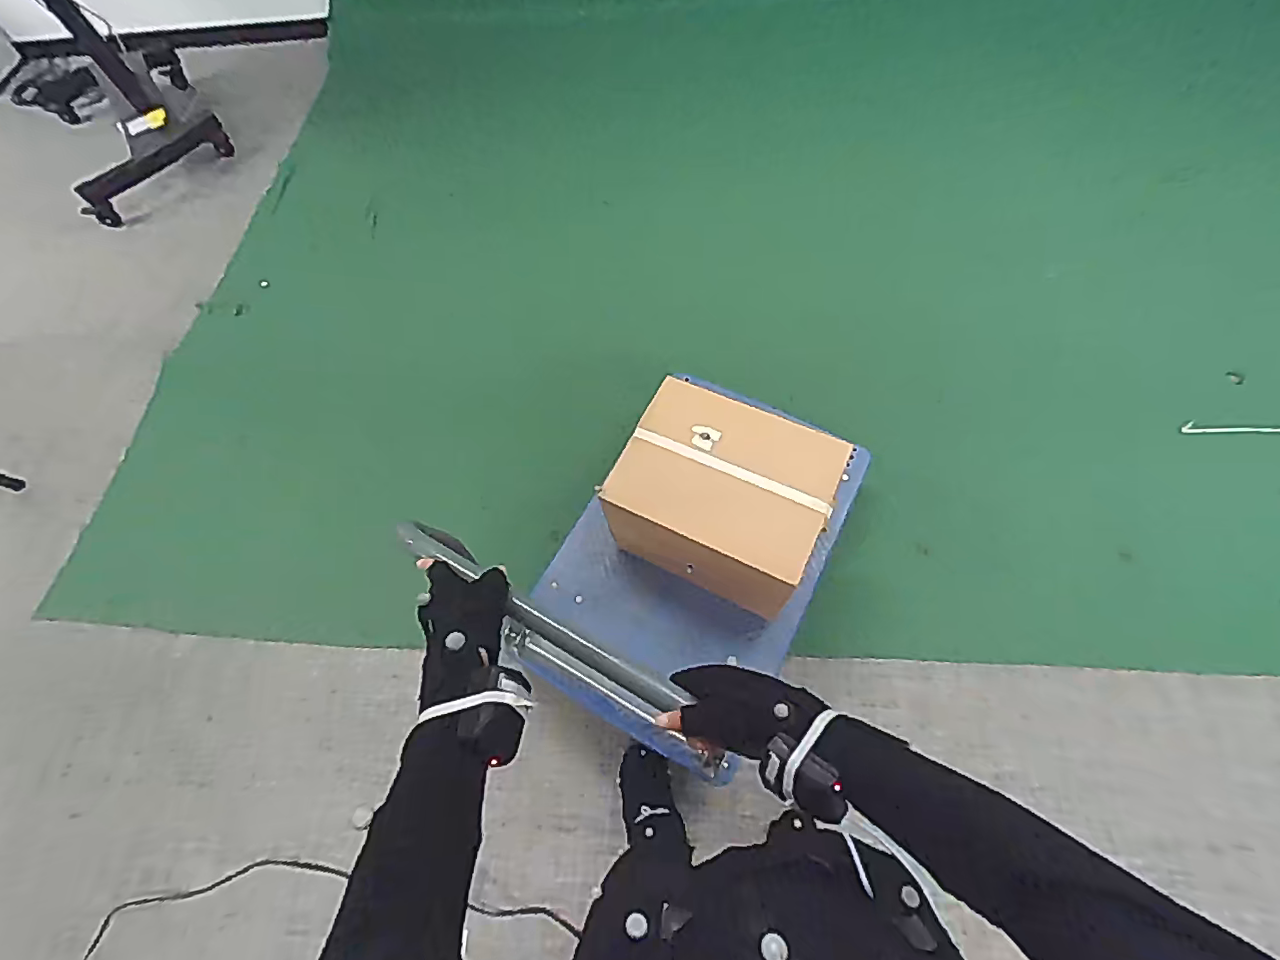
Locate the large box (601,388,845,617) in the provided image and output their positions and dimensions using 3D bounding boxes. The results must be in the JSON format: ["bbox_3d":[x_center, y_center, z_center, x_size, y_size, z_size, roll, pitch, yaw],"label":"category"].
[{"bbox_3d":[0.179,0.058,1.193,0.408,0.320,0.320,23,67,16],"label":"large box"}]
